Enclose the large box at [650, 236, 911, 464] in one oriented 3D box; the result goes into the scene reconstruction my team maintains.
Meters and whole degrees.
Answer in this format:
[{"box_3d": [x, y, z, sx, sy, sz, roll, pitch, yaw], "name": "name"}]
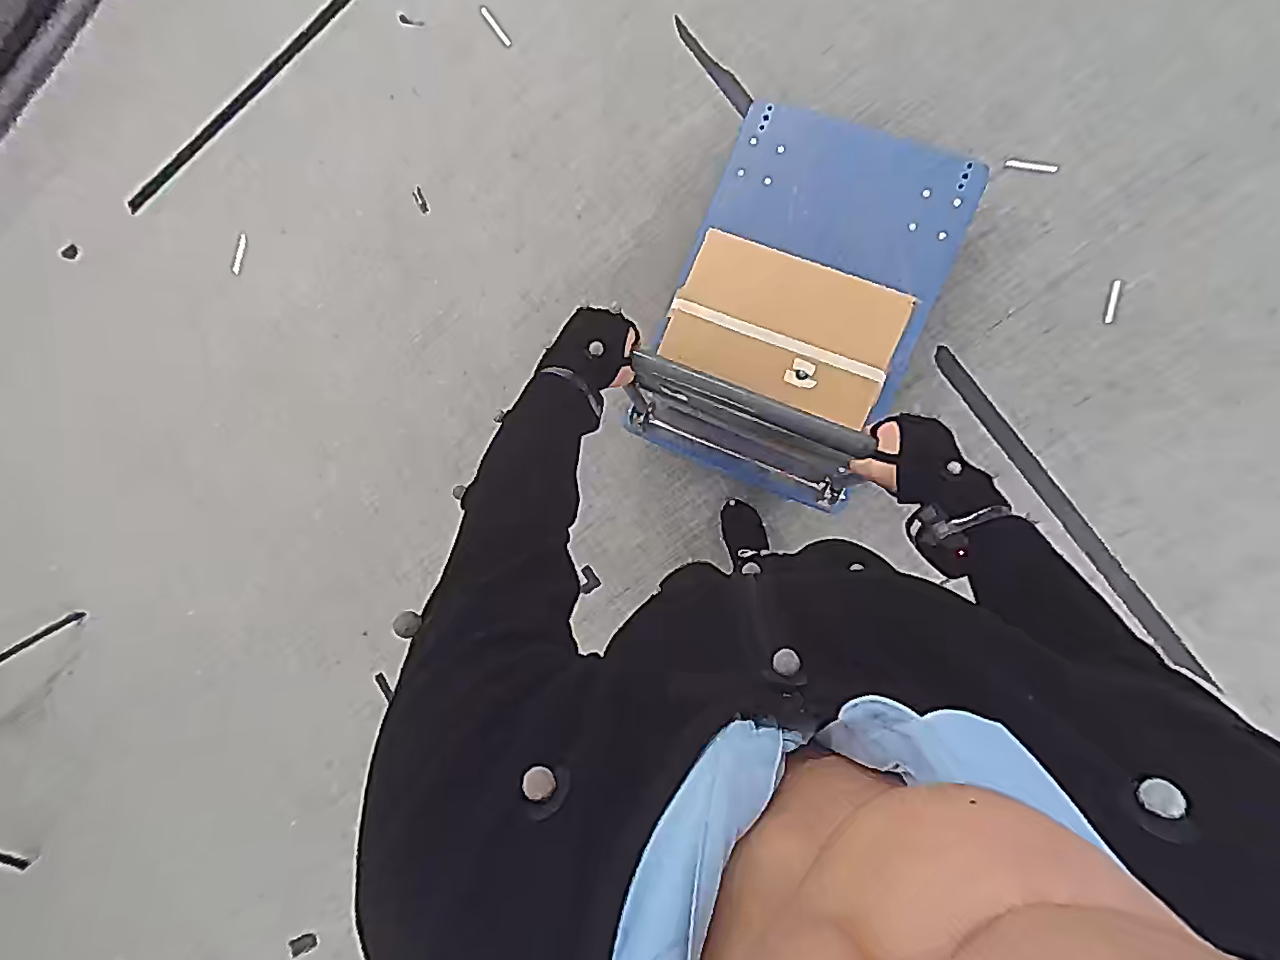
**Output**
[{"box_3d": [0.273, -0.252, 1.154, 0.408, 0.320, 0.320, 23, 93, 8], "name": "large box"}]
